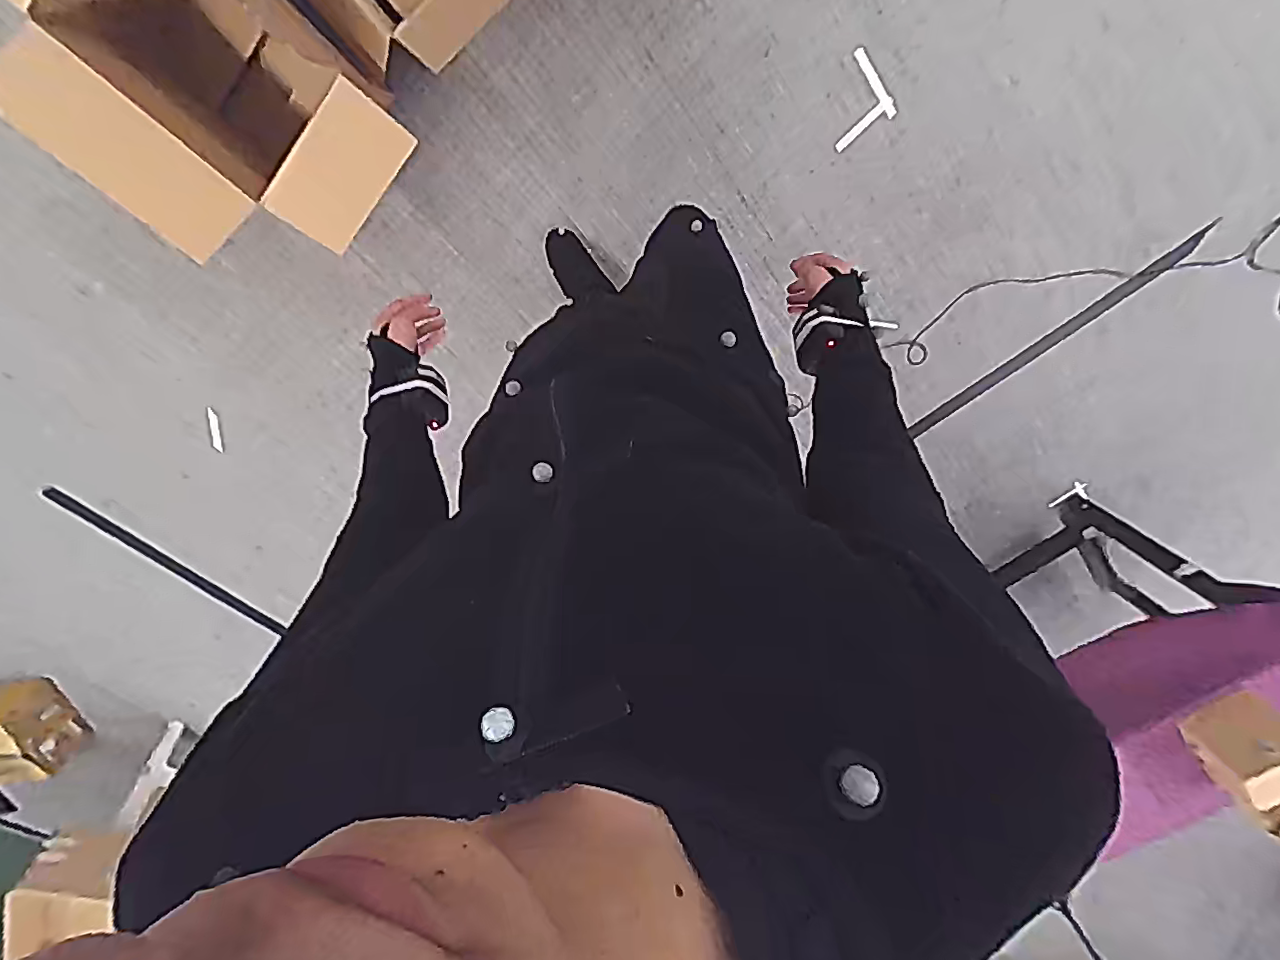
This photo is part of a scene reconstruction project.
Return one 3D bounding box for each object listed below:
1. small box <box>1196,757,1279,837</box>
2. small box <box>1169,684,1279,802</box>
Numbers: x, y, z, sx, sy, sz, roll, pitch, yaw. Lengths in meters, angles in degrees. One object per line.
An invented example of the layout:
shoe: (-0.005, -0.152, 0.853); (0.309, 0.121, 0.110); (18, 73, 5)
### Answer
small box: (1.635, 0.781, 1.412); (0.179, 0.176, 0.168); (-41, 114, 16)
small box: (1.468, 0.633, 1.317); (0.179, 0.176, 0.168); (-39, 115, 15)
